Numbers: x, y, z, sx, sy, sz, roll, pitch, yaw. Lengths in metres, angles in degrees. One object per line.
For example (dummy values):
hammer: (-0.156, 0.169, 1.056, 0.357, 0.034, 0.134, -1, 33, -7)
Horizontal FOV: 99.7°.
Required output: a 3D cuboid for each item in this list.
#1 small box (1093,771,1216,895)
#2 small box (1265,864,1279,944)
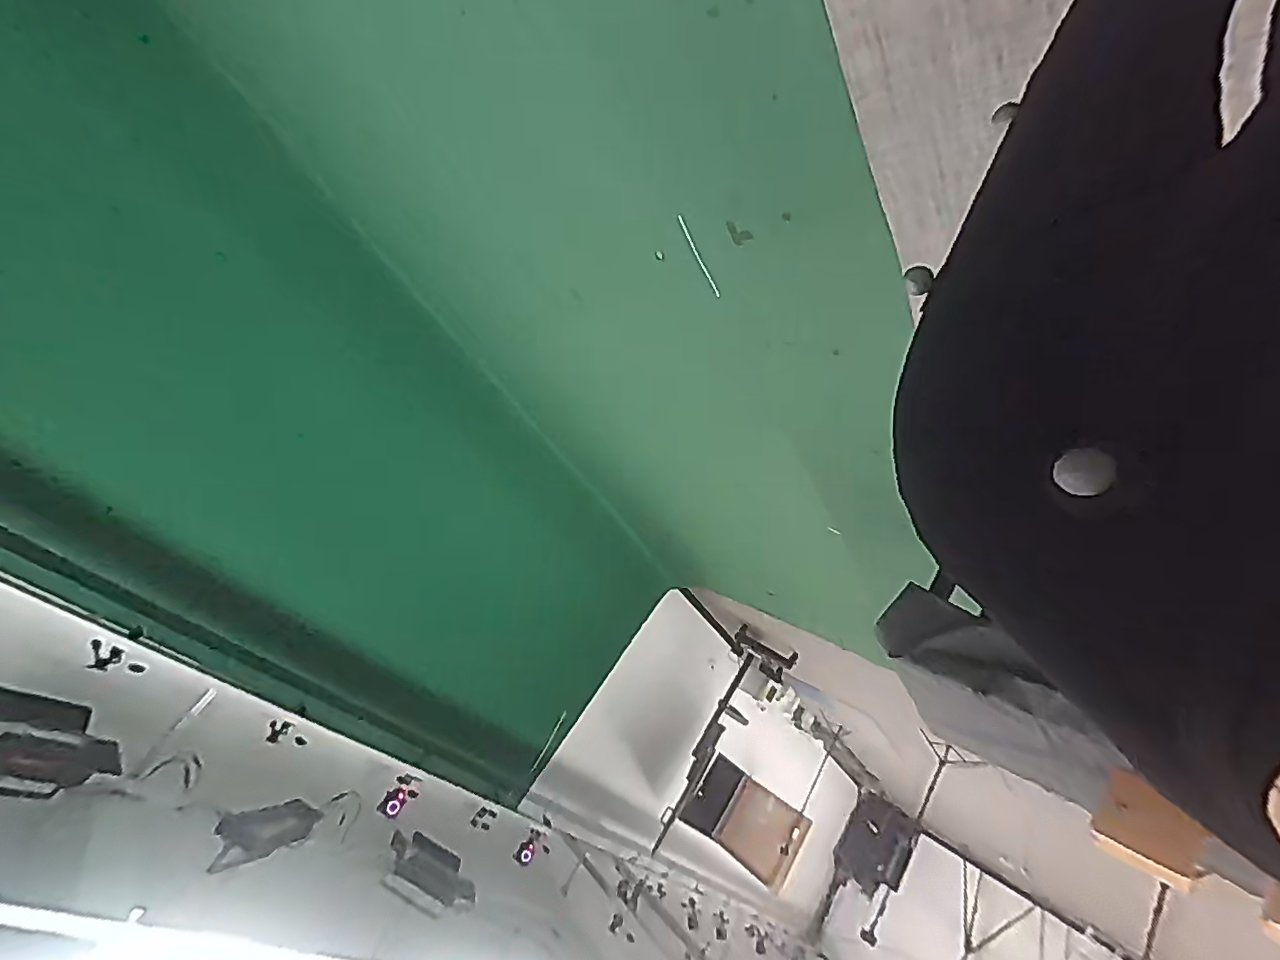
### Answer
small box: (1.201, 0.815, 1.268, 0.179, 0.176, 0.168, 13, 151, 49)
small box: (1.379, 0.864, 1.056, 0.179, 0.176, 0.168, 15, 151, 51)
